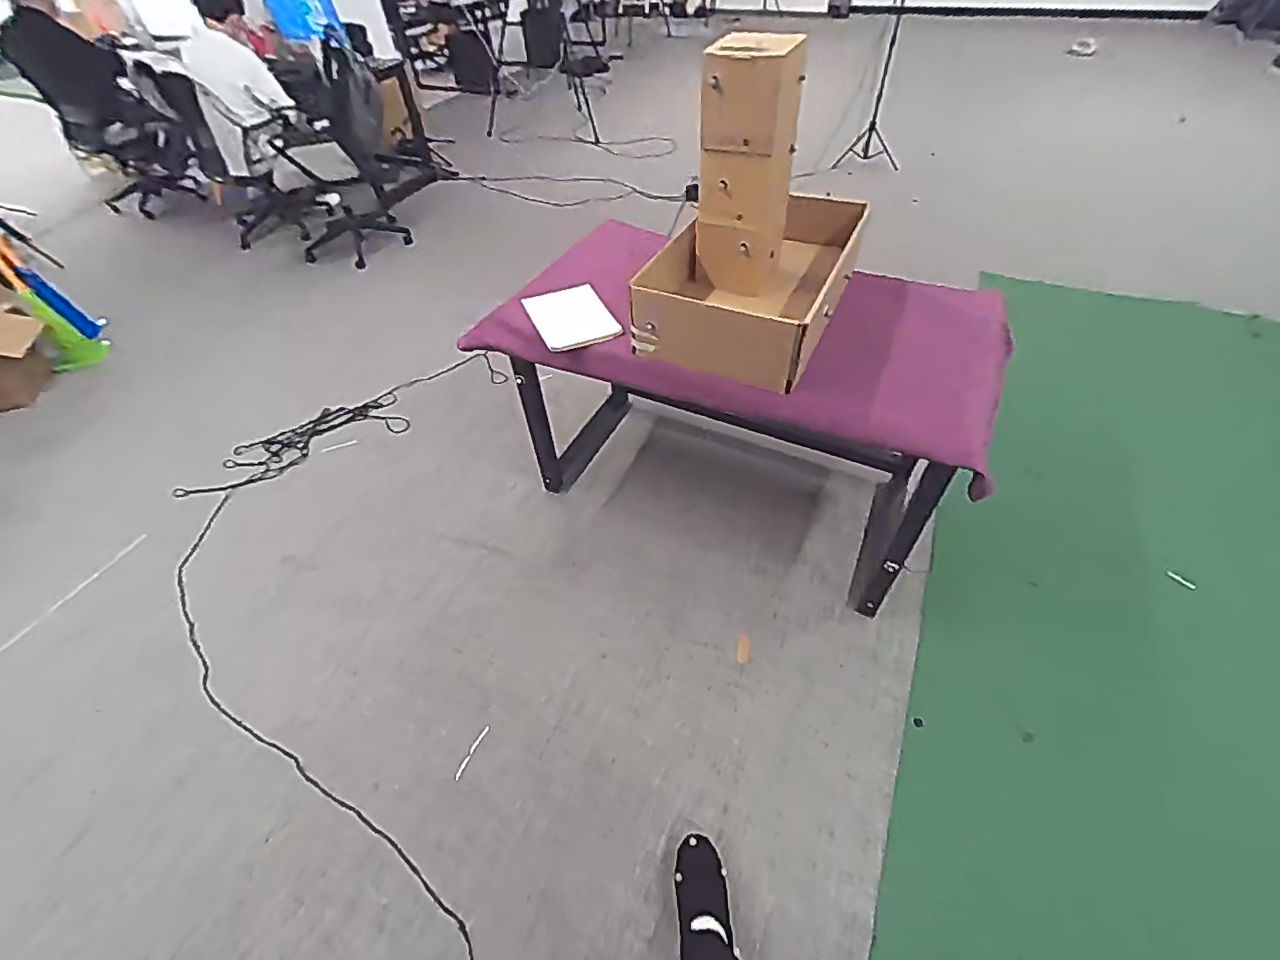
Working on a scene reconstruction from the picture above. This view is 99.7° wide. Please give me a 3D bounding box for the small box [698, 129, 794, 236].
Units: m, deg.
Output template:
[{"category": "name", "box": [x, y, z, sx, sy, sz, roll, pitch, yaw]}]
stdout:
[{"category": "small box", "box": [0.246, -0.698, 1.272, 0.168, 0.176, 0.179, 21, 54, 21]}]
